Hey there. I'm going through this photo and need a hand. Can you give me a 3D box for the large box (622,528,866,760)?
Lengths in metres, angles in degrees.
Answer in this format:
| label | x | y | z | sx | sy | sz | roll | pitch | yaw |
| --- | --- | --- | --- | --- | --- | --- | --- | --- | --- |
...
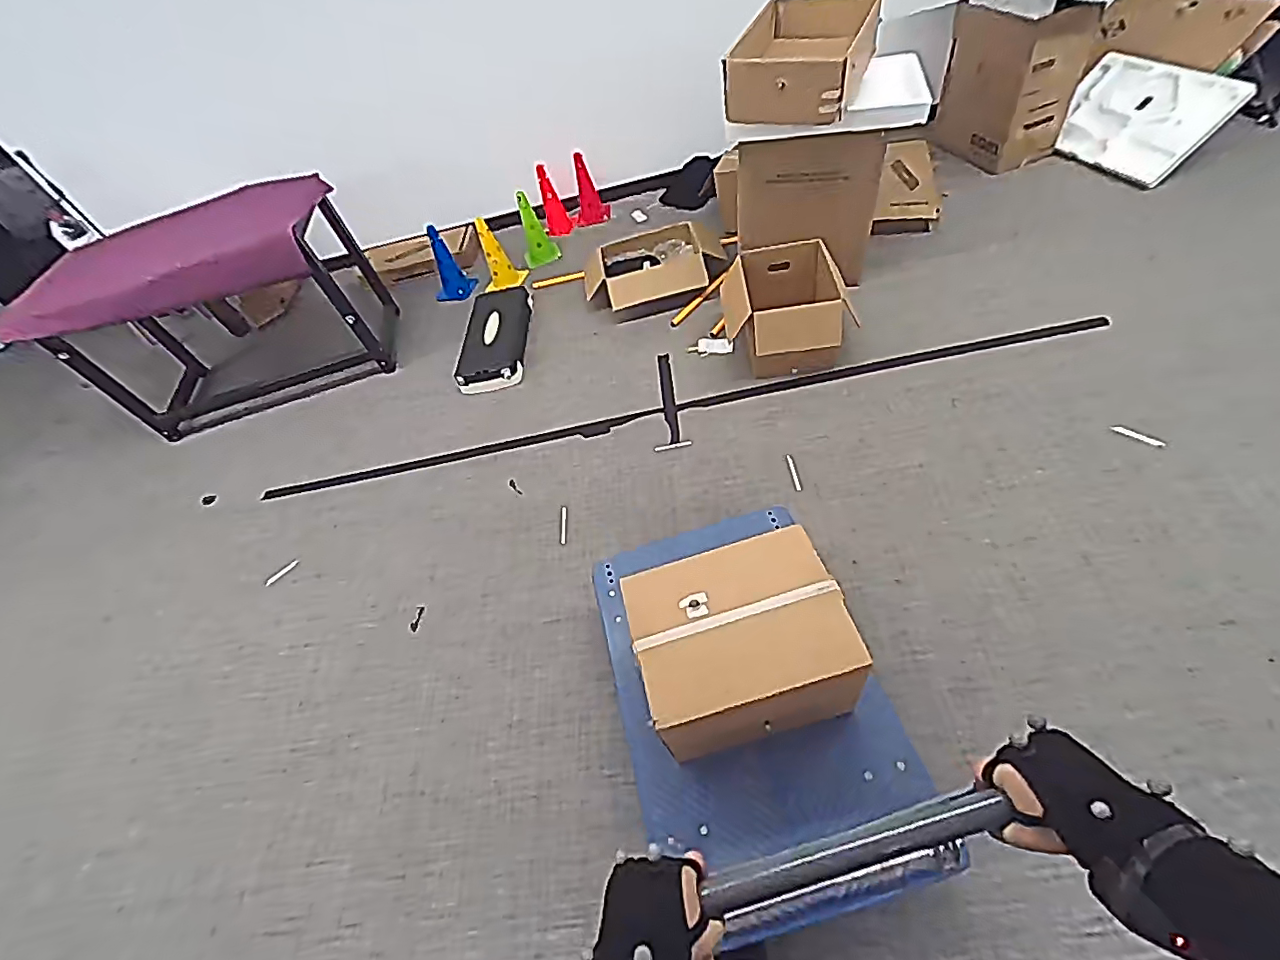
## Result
| label | x | y | z | sx | sy | sz | roll | pitch | yaw |
| --- | --- | --- | --- | --- | --- | --- | --- | --- | --- |
| large box | 0.215 | 0.364 | 1.174 | 0.408 | 0.320 | 0.320 | -18 | 50 | 1 |
